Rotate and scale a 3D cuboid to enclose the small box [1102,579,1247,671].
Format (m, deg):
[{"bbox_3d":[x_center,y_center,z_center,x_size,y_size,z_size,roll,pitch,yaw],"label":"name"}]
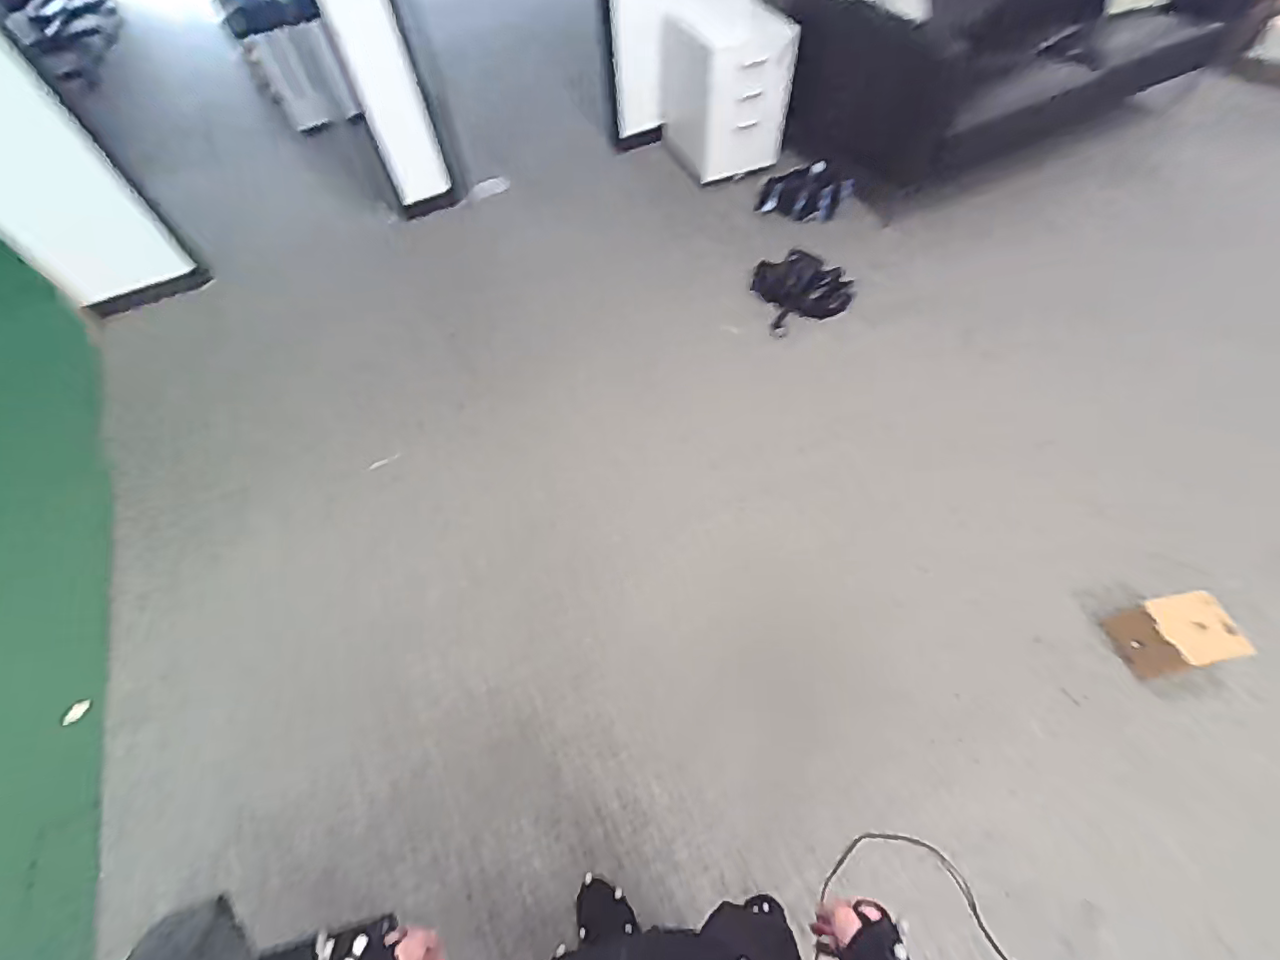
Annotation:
[{"bbox_3d":[1.349,0.376,1.388,0.179,0.176,0.168,-11,56,-3],"label":"small box"}]
